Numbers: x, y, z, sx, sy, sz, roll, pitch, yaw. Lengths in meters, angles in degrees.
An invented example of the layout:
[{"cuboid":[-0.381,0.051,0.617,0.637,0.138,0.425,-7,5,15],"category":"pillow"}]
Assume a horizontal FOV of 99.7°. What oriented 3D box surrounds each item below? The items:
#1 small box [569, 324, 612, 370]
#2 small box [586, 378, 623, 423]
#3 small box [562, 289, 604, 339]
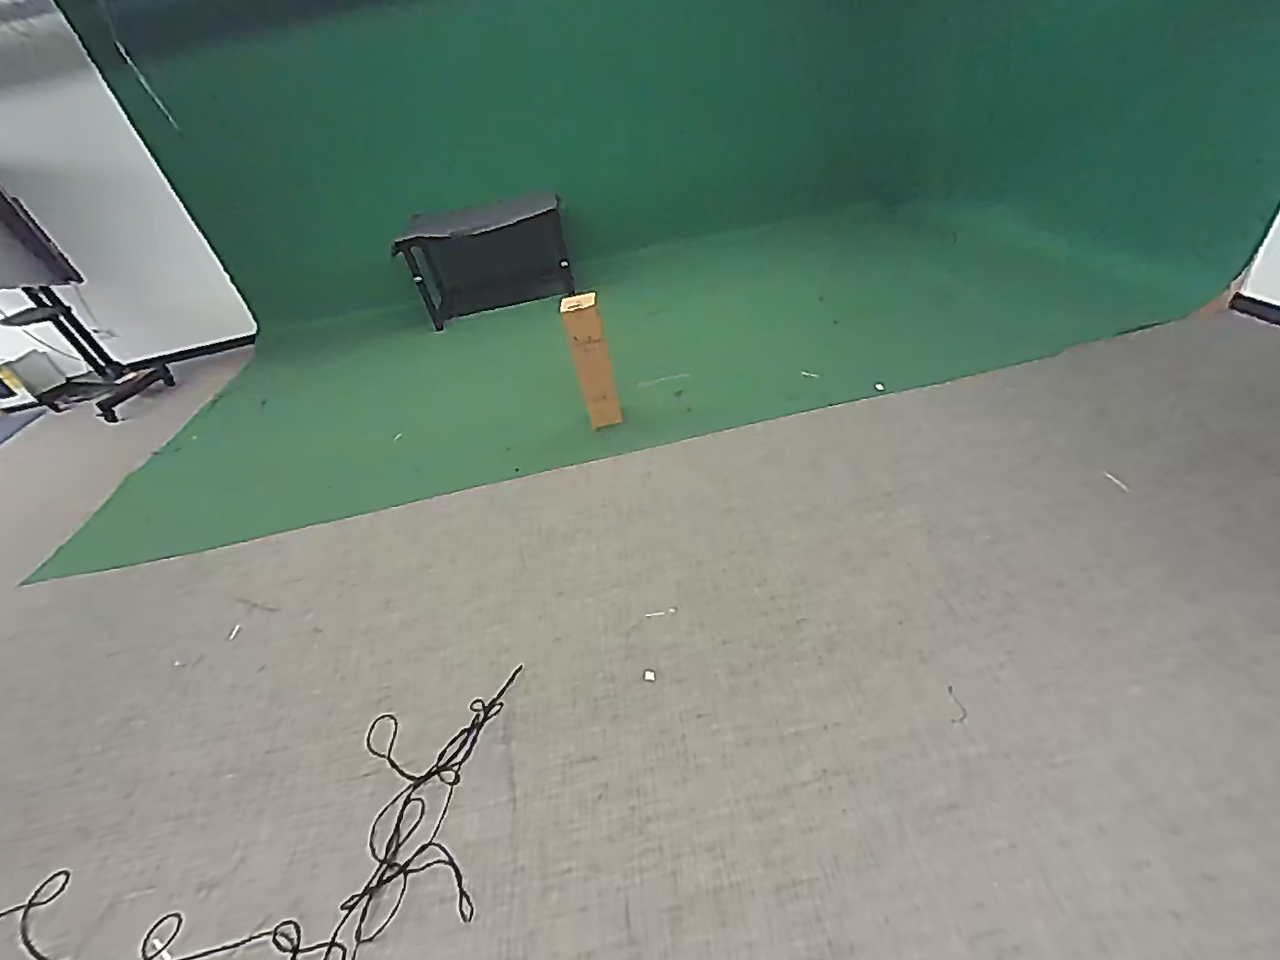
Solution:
[{"cuboid":[-0.245,-0.670,2.703,0.179,0.176,0.168,-11,39,3],"category":"small box"},{"cuboid":[-0.191,-0.422,2.912,0.168,0.176,0.179,-13,38,1],"category":"small box"},{"cuboid":[-0.269,-0.789,2.592,0.168,0.176,0.179,-10,38,5],"category":"small box"}]
